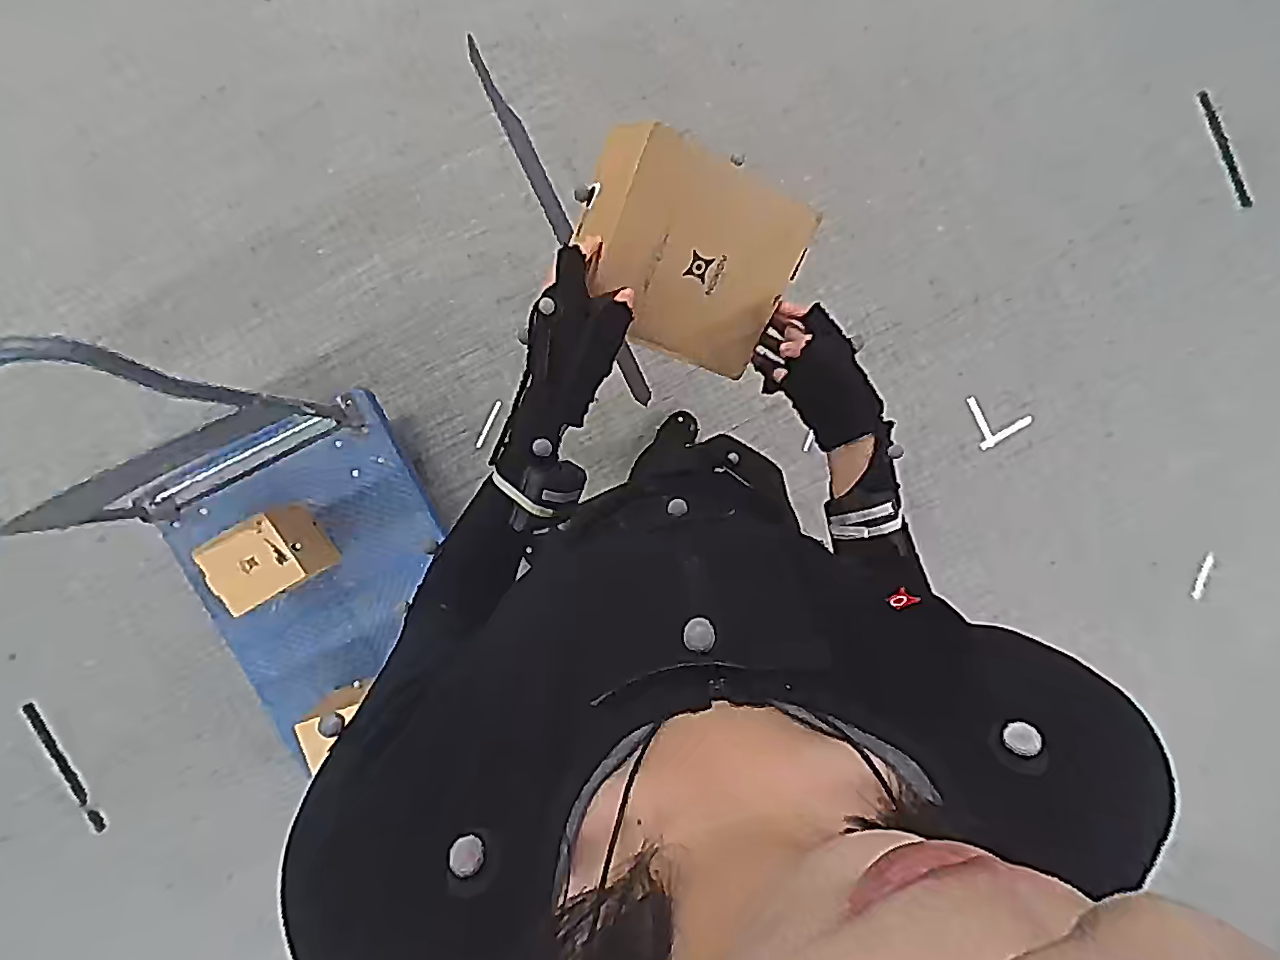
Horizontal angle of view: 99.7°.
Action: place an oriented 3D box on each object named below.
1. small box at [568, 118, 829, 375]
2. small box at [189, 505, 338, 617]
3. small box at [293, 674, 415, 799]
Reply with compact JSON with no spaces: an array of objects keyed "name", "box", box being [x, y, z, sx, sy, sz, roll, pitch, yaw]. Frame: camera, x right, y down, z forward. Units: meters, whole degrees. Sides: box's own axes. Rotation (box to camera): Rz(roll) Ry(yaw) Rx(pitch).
[{"name":"small box","box":[0.042,-0.230,0.538,0.179,0.176,0.168,14,115,-22]},{"name":"small box","box":[-0.823,0.172,1.203,0.179,0.176,0.168,-31,96,-1]},{"name":"small box","box":[-0.643,0.577,1.239,0.168,0.176,0.179,-17,93,-3]}]
